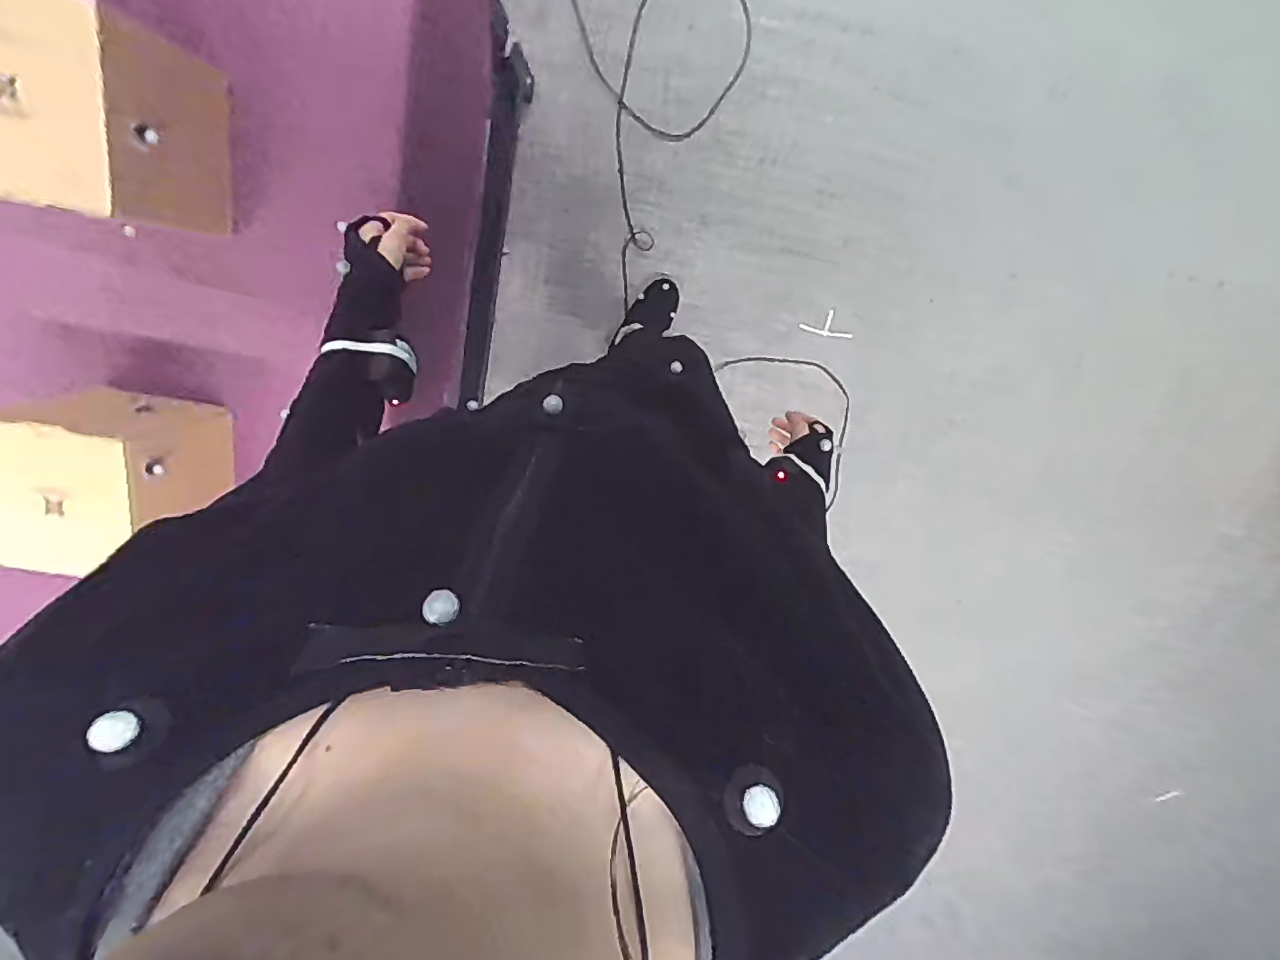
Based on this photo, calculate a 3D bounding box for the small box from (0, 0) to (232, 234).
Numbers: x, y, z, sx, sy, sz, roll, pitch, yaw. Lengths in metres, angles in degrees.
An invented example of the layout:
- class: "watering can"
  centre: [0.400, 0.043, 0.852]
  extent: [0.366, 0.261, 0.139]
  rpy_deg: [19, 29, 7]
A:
- class: "small box"
  centre: [-0.558, -0.367, 0.555]
  extent: [0.168, 0.176, 0.179]
  rpy_deg: [11, 107, -5]

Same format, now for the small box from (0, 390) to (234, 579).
- class: "small box"
  centre: [-0.644, -0.003, 0.672]
  extent: [0.168, 0.176, 0.179]
  rpy_deg: [10, 106, -4]
